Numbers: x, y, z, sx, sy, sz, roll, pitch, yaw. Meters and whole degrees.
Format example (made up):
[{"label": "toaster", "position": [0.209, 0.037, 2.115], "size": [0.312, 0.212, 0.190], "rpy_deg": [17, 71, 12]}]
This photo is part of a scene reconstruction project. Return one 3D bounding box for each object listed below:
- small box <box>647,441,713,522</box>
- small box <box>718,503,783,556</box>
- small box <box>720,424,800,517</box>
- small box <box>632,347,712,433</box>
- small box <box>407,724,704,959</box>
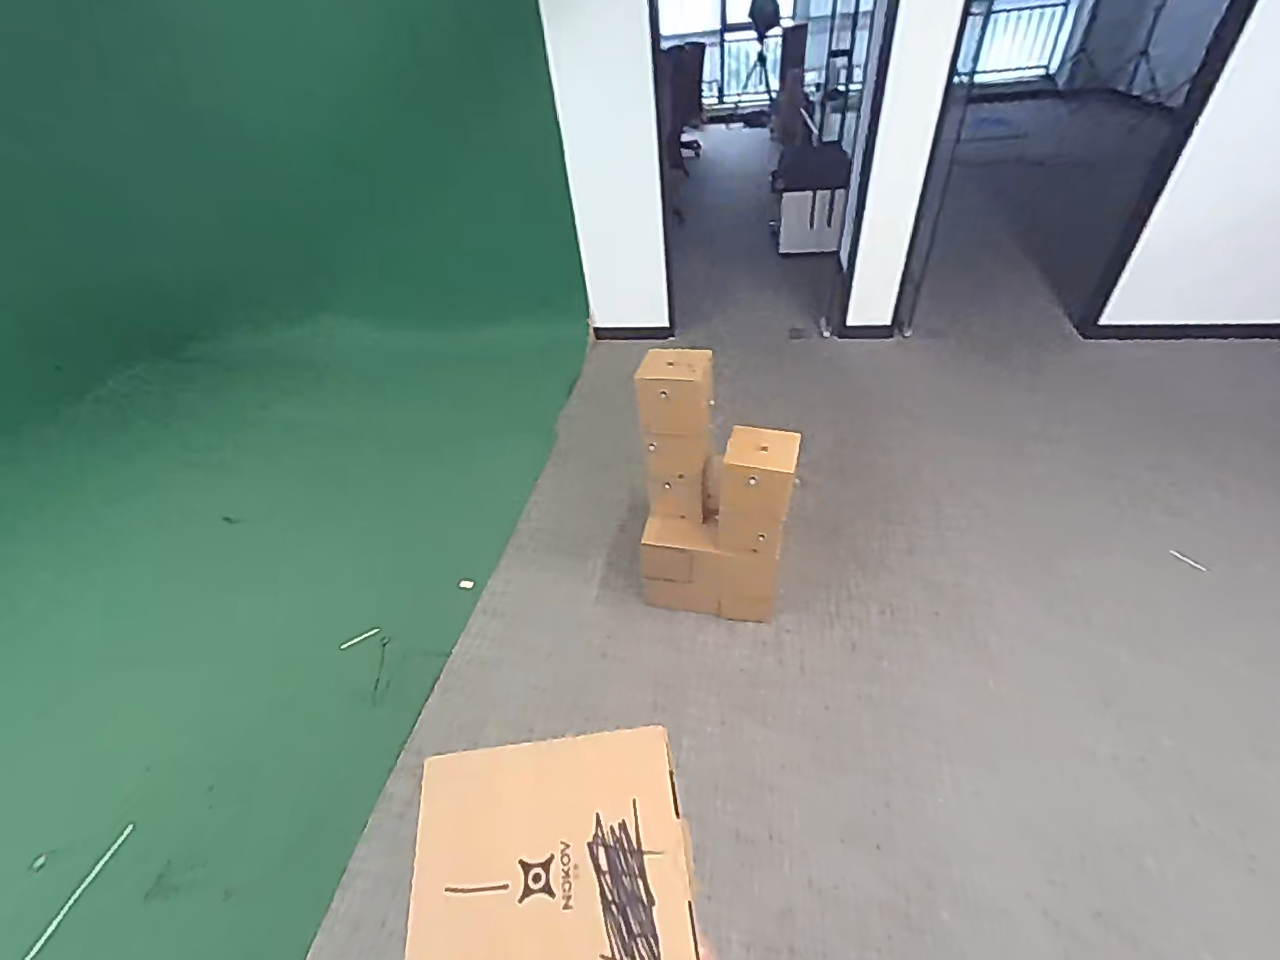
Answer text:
[{"label": "small box", "position": [0.127, 0.002, 1.662], "size": [0.168, 0.176, 0.179], "rpy_deg": [7, 41, 17]}, {"label": "small box", "position": [0.318, 0.092, 1.530], "size": [0.168, 0.176, 0.179], "rpy_deg": [9, 42, 15]}, {"label": "small box", "position": [0.313, -0.024, 1.416], "size": [0.179, 0.176, 0.168], "rpy_deg": [9, 43, 16]}, {"label": "small box", "position": [0.092, -0.240, 1.439], "size": [0.179, 0.176, 0.168], "rpy_deg": [6, 42, 15]}, {"label": "small box", "position": [-0.055, 0.298, 0.407], "size": [0.179, 0.176, 0.168], "rpy_deg": [-6, 52, -4]}]
